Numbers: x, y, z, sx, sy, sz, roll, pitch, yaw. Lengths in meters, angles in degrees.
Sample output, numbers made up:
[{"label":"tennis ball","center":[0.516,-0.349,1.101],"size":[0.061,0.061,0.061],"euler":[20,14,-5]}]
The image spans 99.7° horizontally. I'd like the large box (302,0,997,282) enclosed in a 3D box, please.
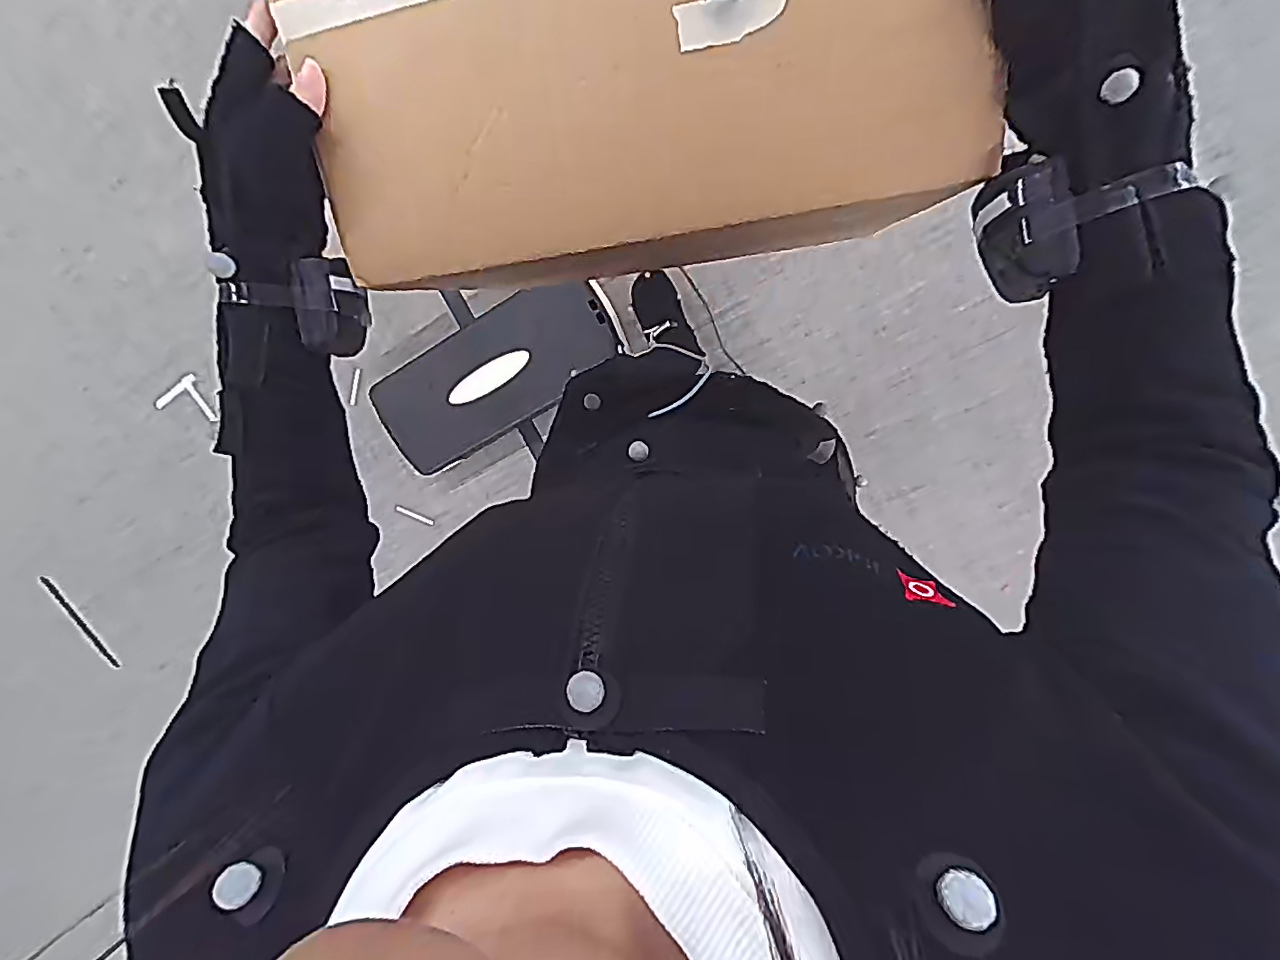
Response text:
[{"label":"large box","center":[0.006,-0.356,0.438],"size":[0.408,0.320,0.320],"euler":[-5,109,12]}]
